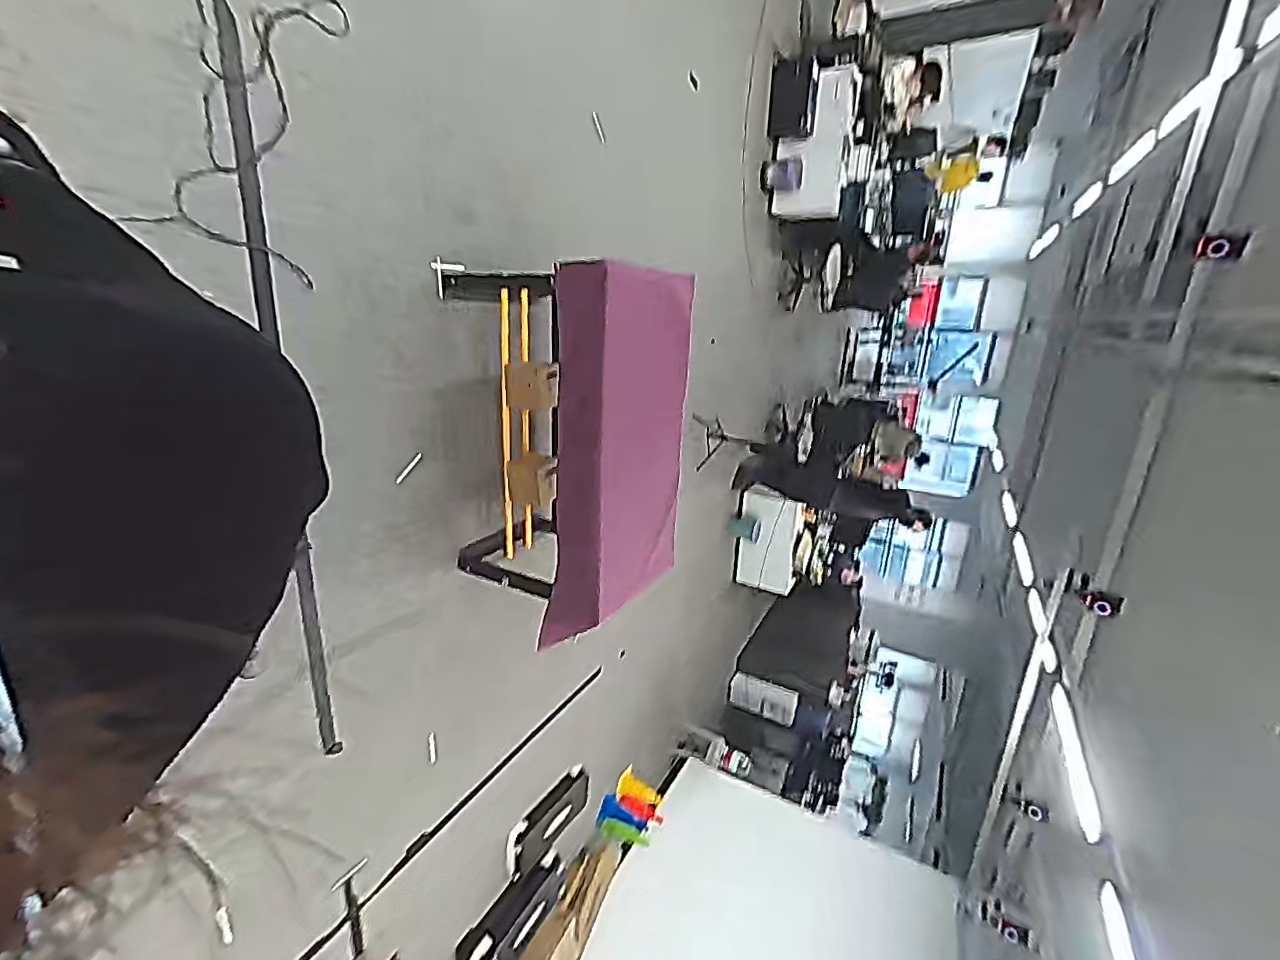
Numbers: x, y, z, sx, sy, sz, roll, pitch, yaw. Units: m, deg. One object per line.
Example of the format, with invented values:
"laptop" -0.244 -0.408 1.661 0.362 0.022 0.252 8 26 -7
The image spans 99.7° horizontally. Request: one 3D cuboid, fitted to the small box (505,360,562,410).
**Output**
"small box" -0.436 -0.393 2.212 0.168 0.176 0.179 -30 128 -56
